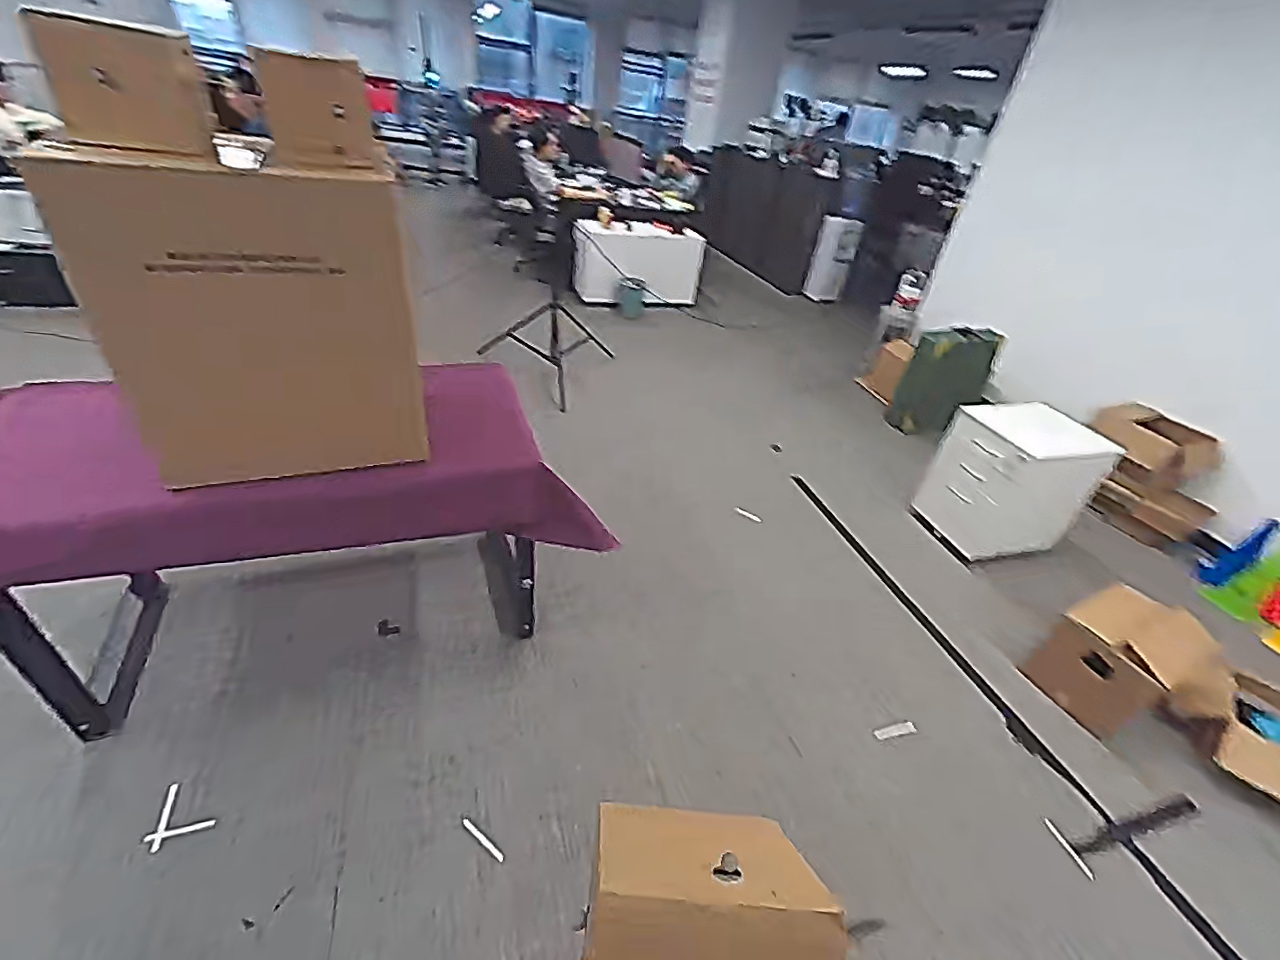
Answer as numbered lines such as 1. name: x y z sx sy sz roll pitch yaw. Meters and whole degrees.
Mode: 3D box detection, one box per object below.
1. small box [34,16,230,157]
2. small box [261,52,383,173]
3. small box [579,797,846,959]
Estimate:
1. small box: -0.841 -0.661 0.921 0.179 0.176 0.168 -6 38 -21
2. small box: -0.591 -0.692 1.024 0.168 0.176 0.179 -9 38 -24
3. small box: 0.044 0.376 0.435 0.179 0.176 0.168 6 77 -3
